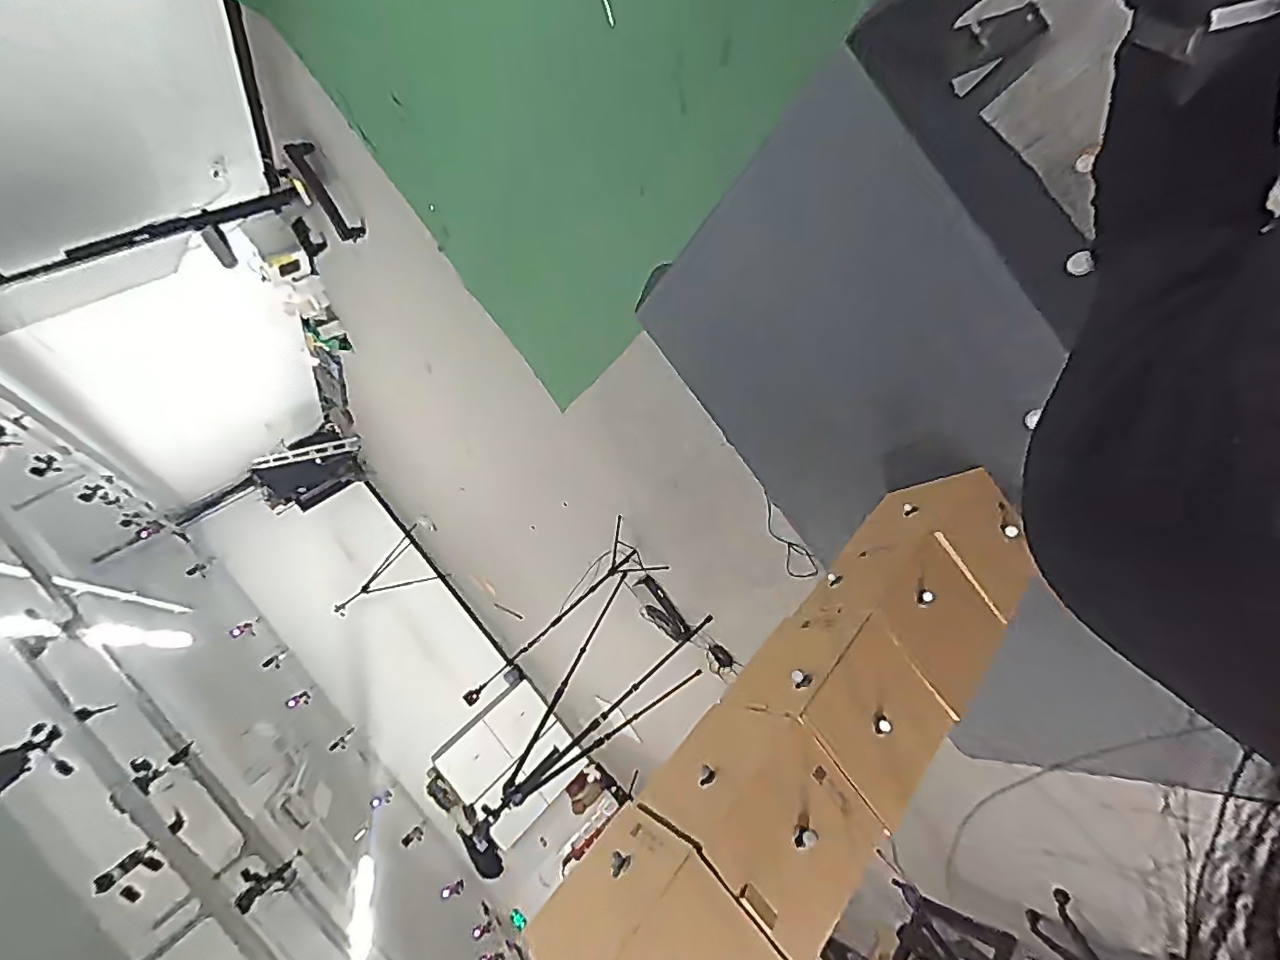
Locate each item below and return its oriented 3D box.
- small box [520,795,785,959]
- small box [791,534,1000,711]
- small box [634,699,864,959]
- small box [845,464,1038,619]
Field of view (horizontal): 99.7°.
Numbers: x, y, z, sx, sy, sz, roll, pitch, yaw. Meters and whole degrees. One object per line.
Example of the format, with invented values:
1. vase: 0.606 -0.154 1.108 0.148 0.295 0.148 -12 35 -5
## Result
1. small box: 0.013 0.464 0.539 0.179 0.176 0.168 52 151 -3
2. small box: 0.358 0.192 0.763 0.179 0.176 0.168 52 151 -1
3. small box: 0.127 0.376 0.622 0.168 0.176 0.179 52 151 -2
4. small box: 0.467 0.100 0.841 0.168 0.176 0.179 53 150 -3
